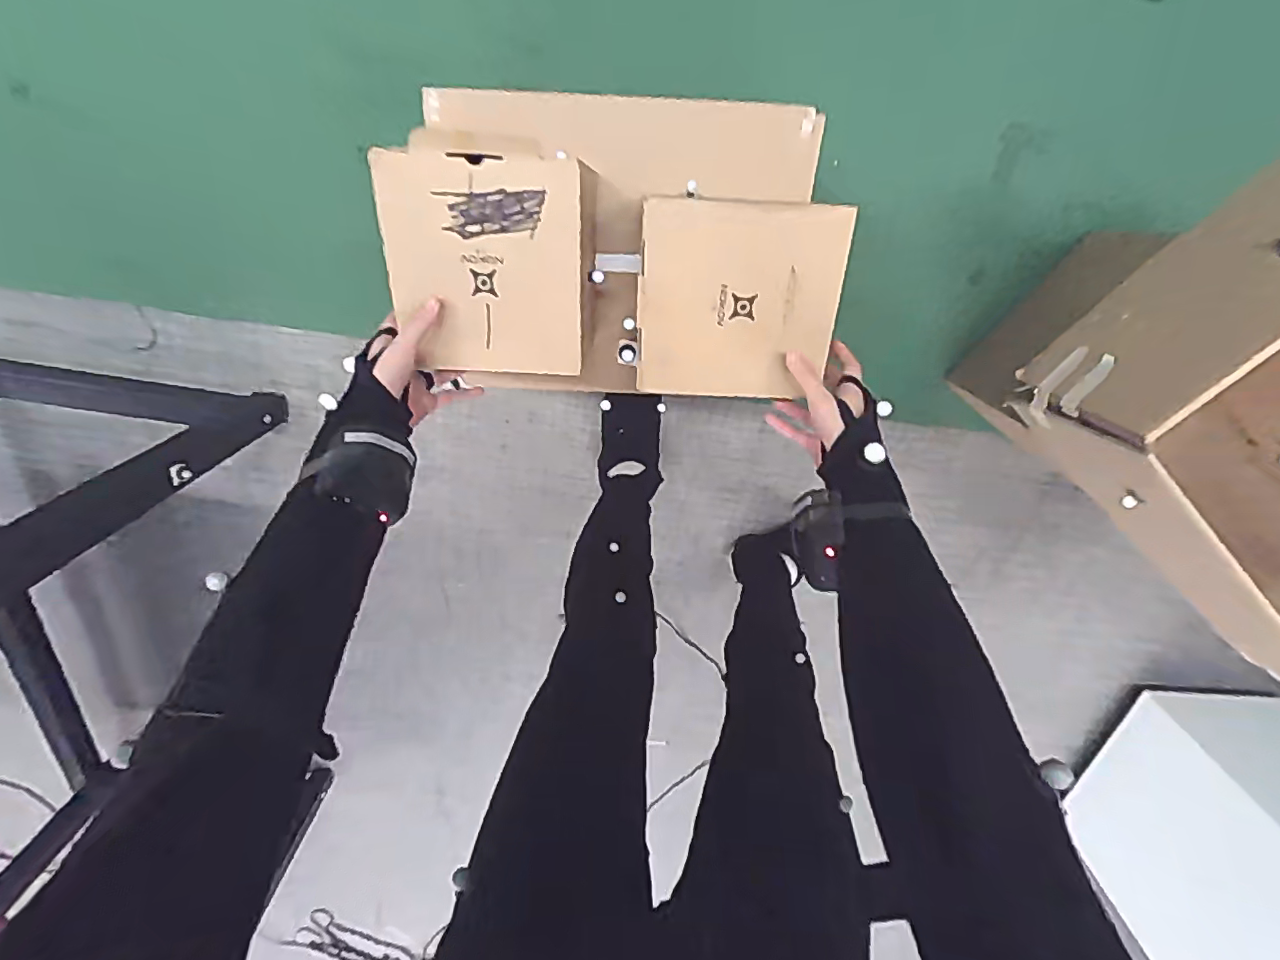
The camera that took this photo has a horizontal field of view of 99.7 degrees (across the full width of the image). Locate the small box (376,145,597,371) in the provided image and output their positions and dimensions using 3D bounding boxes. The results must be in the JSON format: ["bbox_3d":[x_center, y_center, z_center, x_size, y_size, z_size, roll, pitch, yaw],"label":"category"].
[{"bbox_3d":[-0.132,-0.219,0.536,0.168,0.176,0.179,3,118,-1],"label":"small box"}]

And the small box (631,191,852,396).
[{"bbox_3d":[0.084,-0.194,0.547,0.179,0.176,0.168,2,119,-1],"label":"small box"}]
